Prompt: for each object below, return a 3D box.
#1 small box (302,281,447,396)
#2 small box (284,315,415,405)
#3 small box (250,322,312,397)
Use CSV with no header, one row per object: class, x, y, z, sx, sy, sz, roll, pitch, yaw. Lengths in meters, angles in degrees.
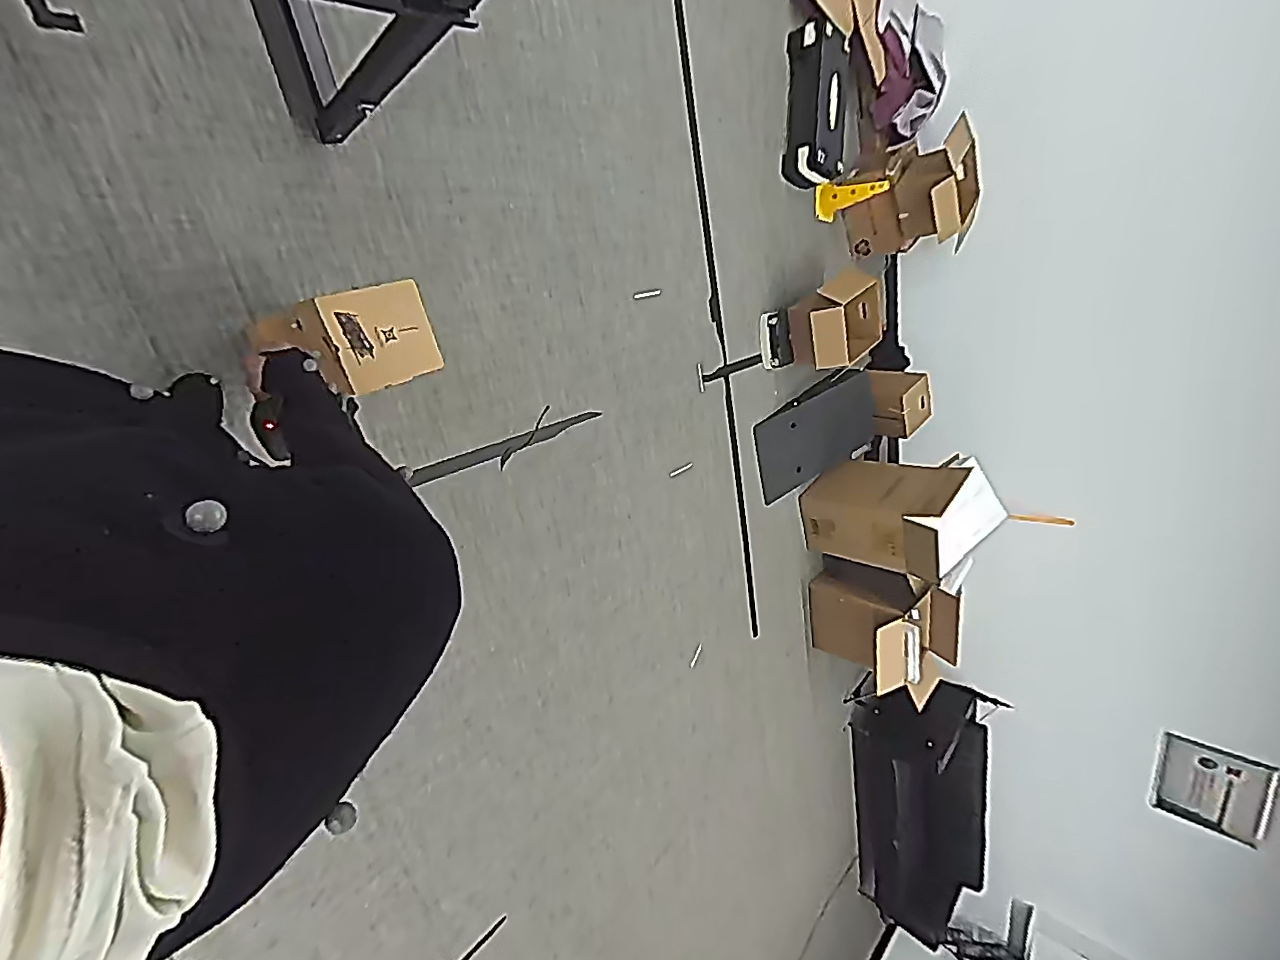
small box,-0.496,-0.259,1.002,0.179,0.176,0.168,-31,118,-37
small box,-0.605,-0.267,1.127,0.168,0.176,0.179,-30,118,-37
small box,-0.835,-0.314,1.354,0.179,0.176,0.168,-28,116,-37
